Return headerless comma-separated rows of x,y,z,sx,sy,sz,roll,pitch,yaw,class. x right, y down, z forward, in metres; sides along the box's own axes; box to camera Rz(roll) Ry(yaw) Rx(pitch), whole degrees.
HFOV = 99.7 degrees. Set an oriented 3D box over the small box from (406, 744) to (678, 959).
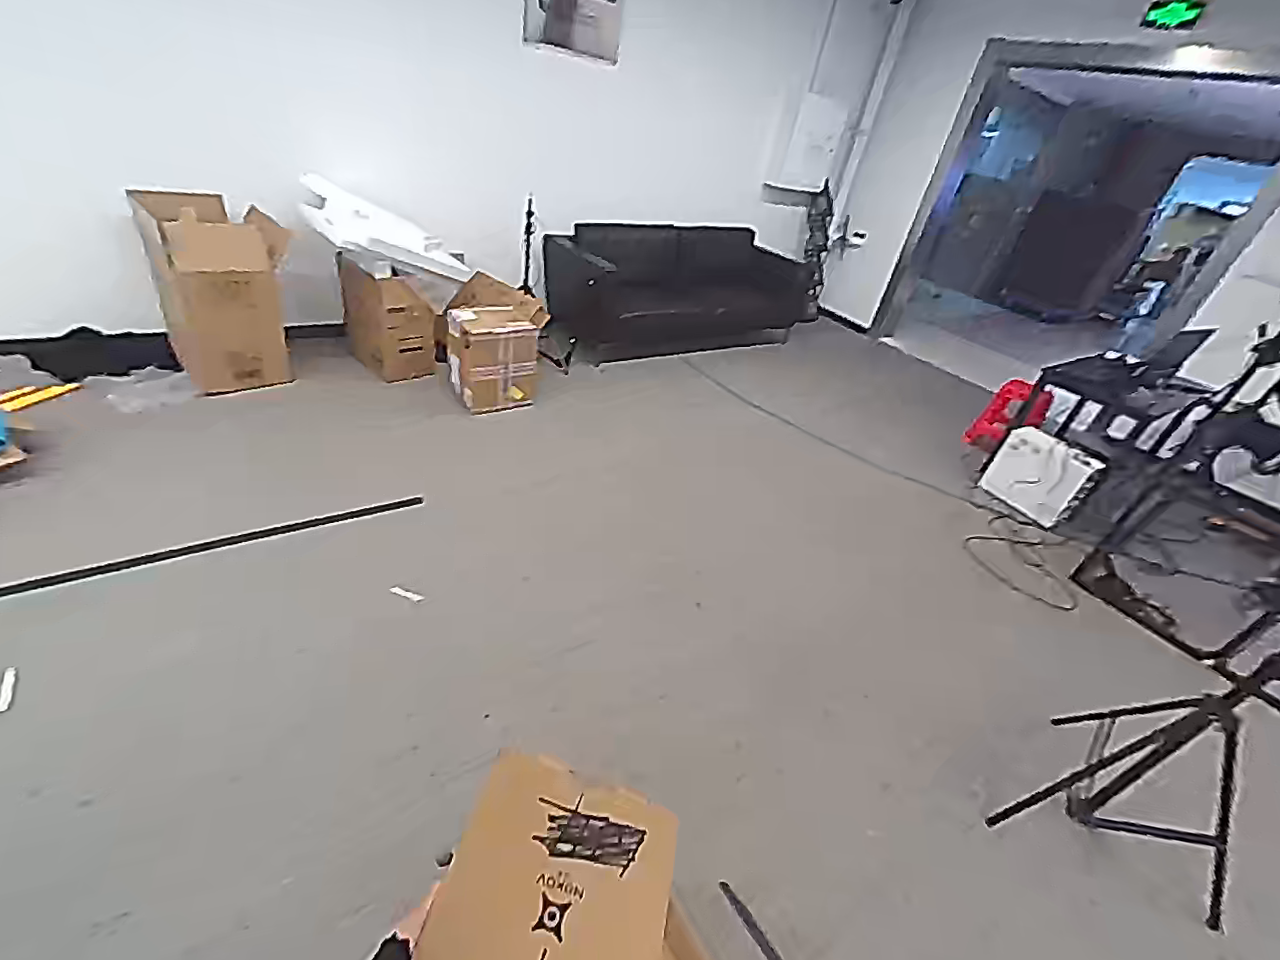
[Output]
-0.084,0.355,0.430,0.168,0.176,0.179,21,37,-2,small box
